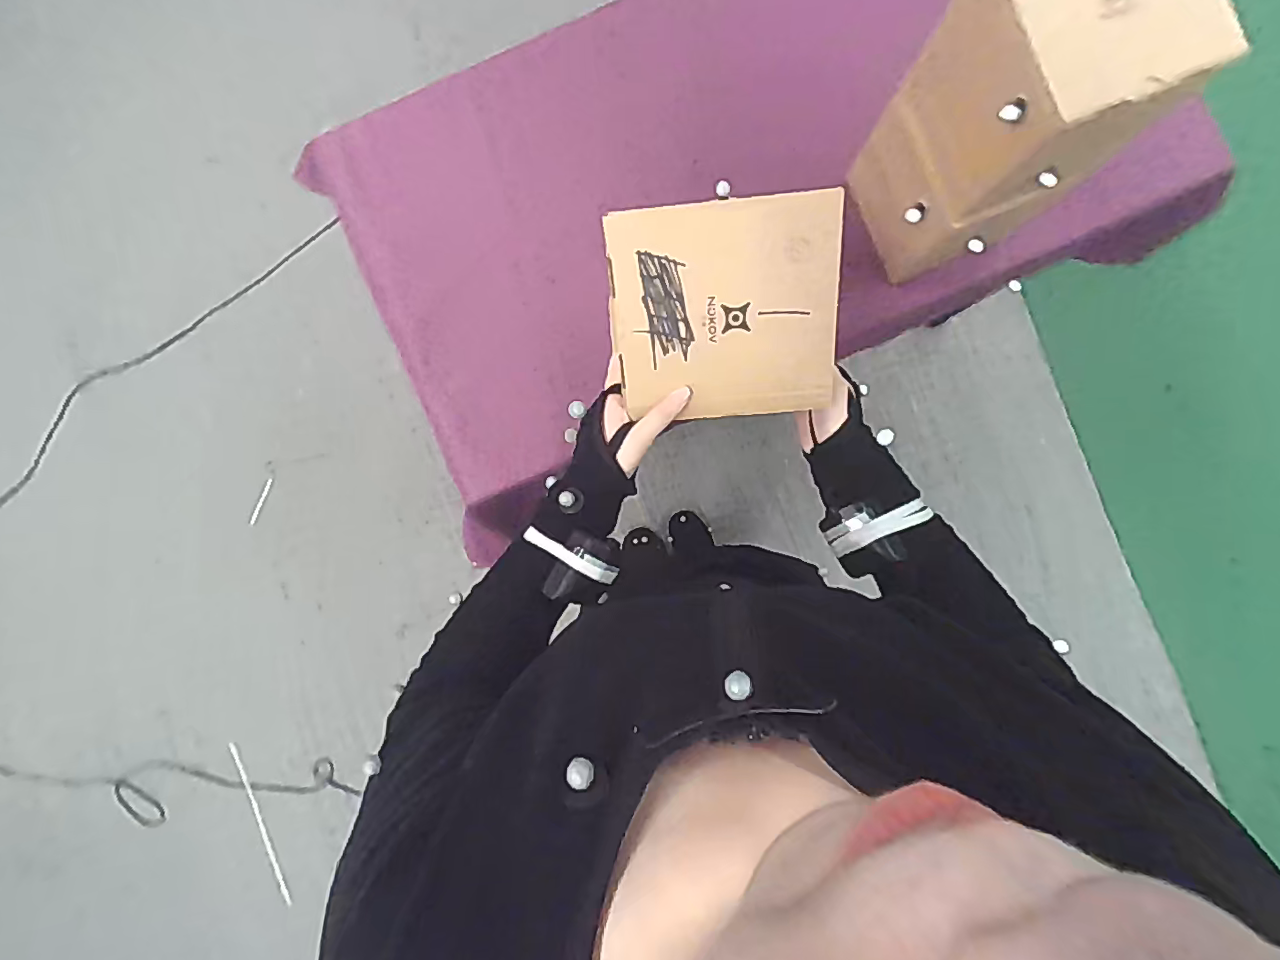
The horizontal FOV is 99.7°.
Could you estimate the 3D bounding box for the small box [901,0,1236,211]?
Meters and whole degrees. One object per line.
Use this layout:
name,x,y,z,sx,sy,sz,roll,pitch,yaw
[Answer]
small box,0.395,-0.412,0.536,0.168,0.176,0.179,-23,89,1

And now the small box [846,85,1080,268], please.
small box,0.398,-0.400,0.699,0.168,0.176,0.179,-23,88,1

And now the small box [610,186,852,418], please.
small box,0.074,-0.164,0.493,0.179,0.176,0.168,-4,116,4
